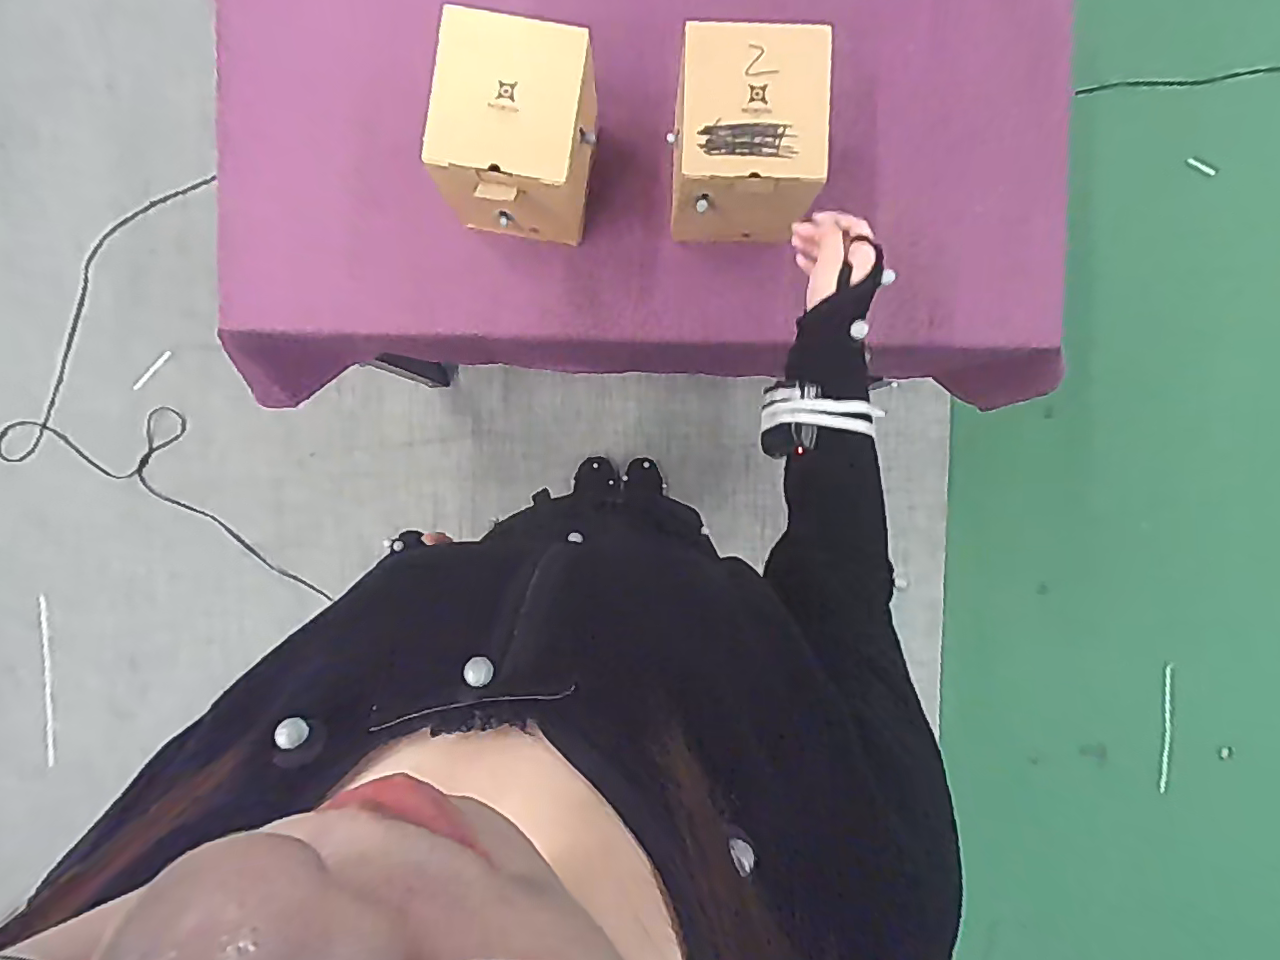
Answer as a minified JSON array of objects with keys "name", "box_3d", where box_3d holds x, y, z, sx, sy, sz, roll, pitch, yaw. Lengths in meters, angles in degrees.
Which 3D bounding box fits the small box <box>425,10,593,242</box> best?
[{"name":"small box","box_3d":[-0.155,-0.438,0.698,0.168,0.176,0.179,9,93,-1]}]
